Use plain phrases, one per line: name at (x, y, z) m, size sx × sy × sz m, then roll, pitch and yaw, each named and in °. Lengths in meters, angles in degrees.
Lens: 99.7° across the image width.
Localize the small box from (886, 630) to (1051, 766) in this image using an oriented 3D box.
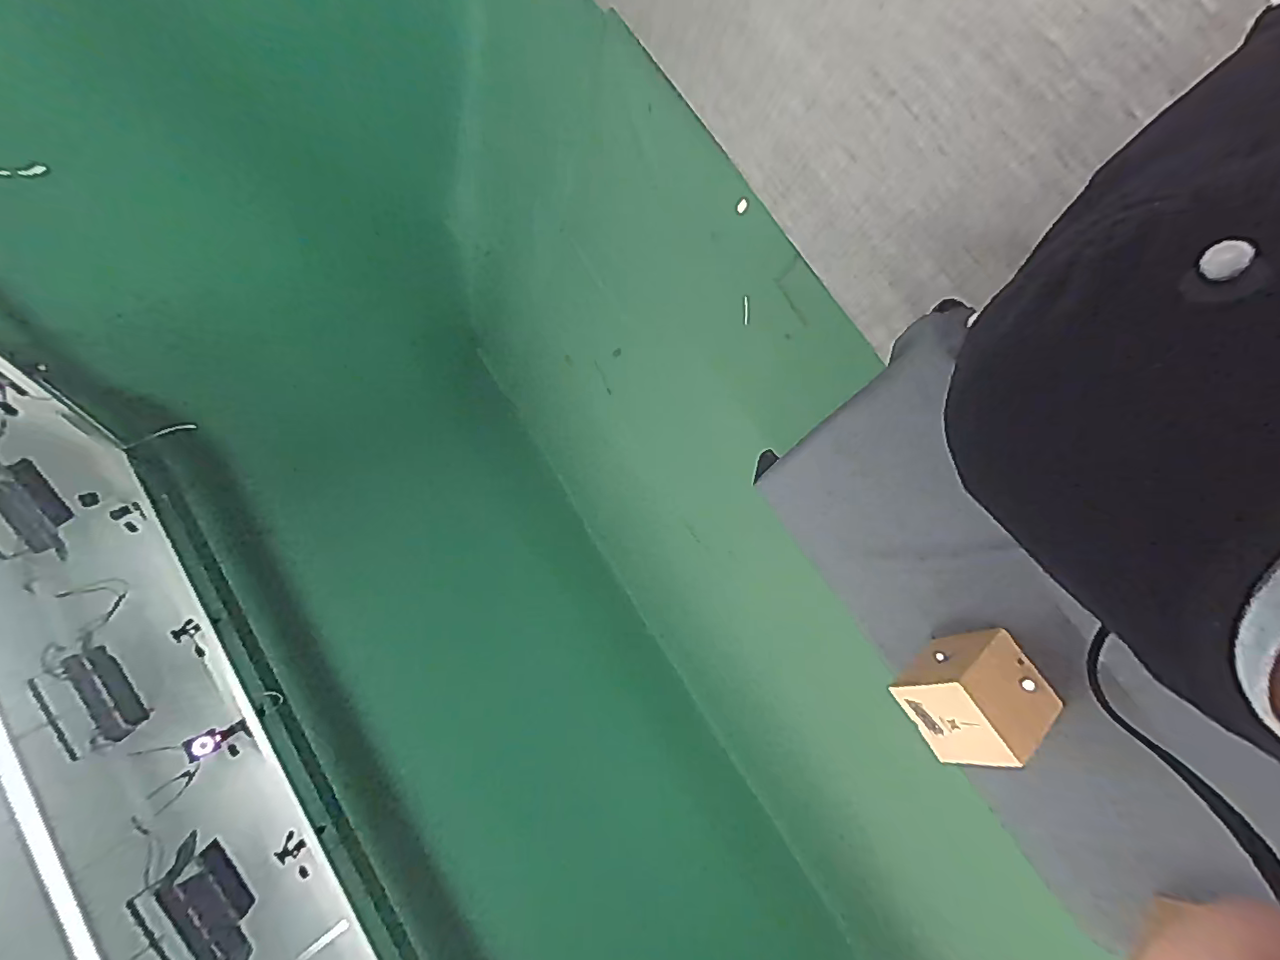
small box at (0.618, 0.408, 1.022) m, size 0.168 × 0.176 × 0.179 m, roll 55°, pitch 150°, yaw 9°
